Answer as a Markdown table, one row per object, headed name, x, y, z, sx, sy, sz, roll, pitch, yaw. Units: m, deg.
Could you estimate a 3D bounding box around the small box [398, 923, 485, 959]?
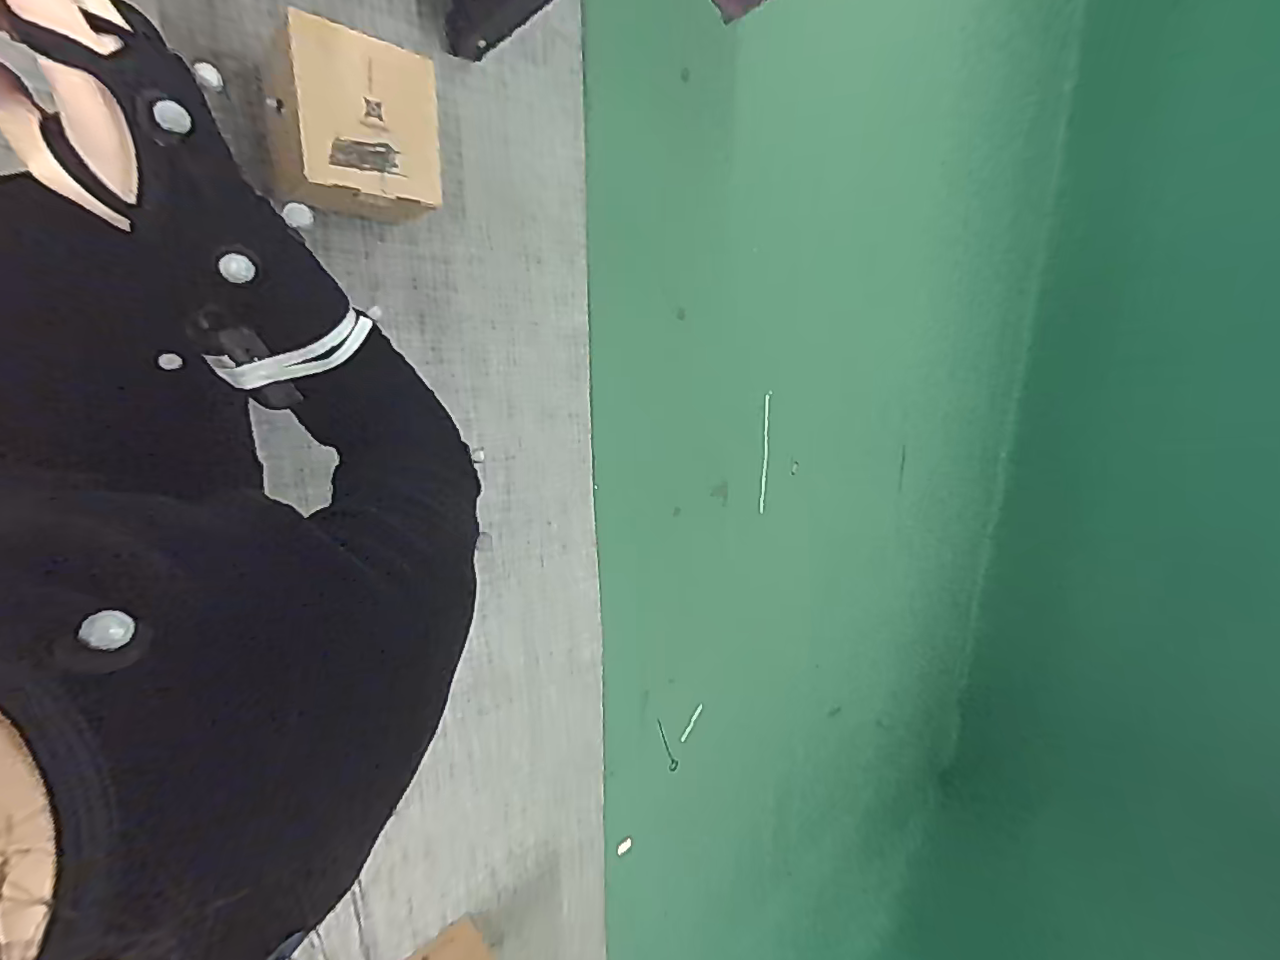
| name | x | y | z | sx | sy | sz | roll | pitch | yaw |
| --- | --- | --- | --- | --- | --- | --- | --- | --- | --- |
| small box | -0.402 | 1.061 | 1.098 | 0.168 | 0.176 | 0.179 | -14 | 111 | -39 |
